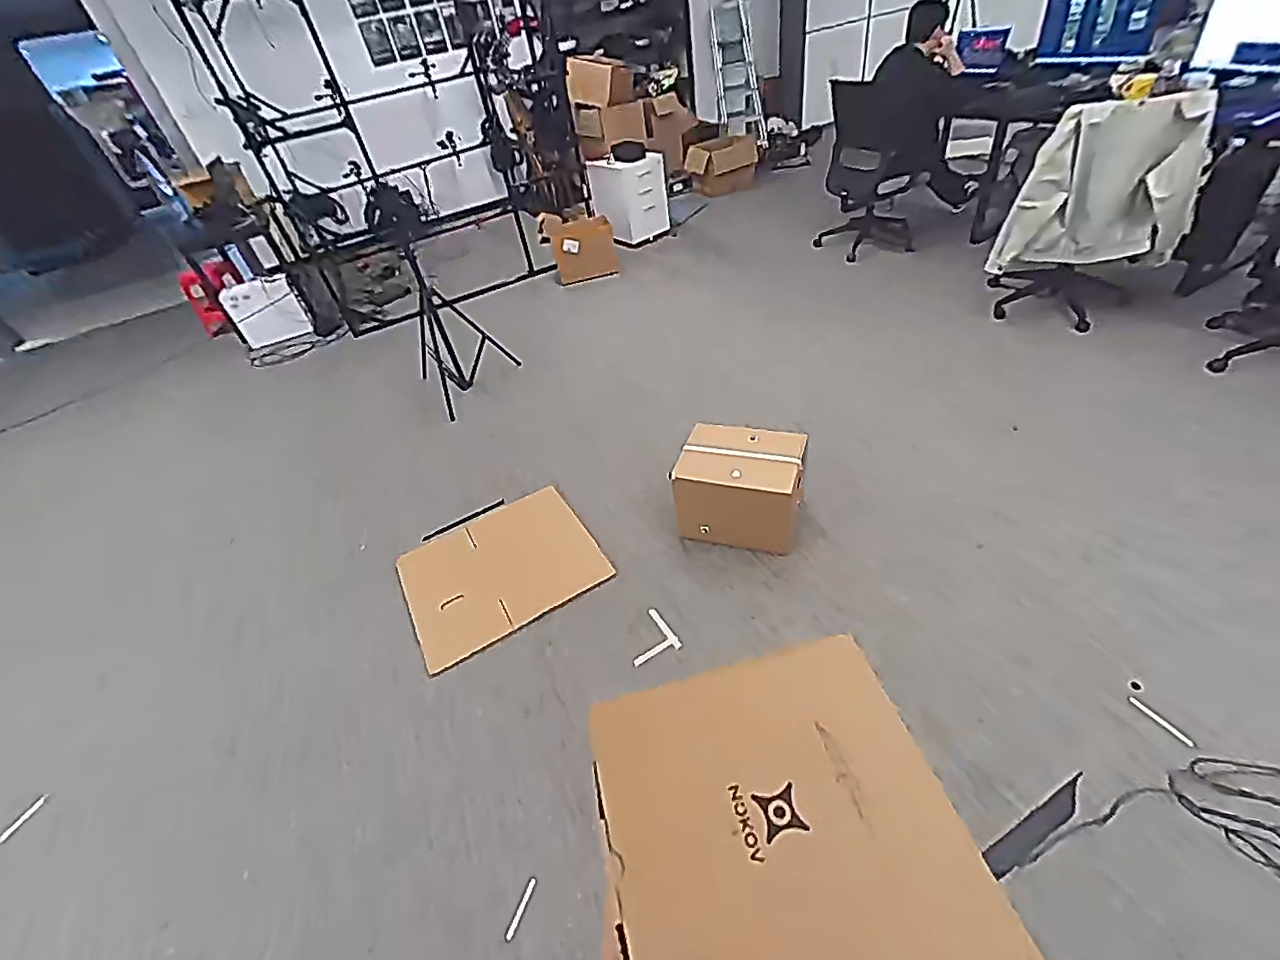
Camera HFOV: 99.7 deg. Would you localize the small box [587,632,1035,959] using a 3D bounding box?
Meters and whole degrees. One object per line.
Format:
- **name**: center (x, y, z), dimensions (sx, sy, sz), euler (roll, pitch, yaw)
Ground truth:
- **small box**: center (0.079, 0.228, 0.334), dimensions (0.179, 0.176, 0.168), euler (-15, 45, -6)
